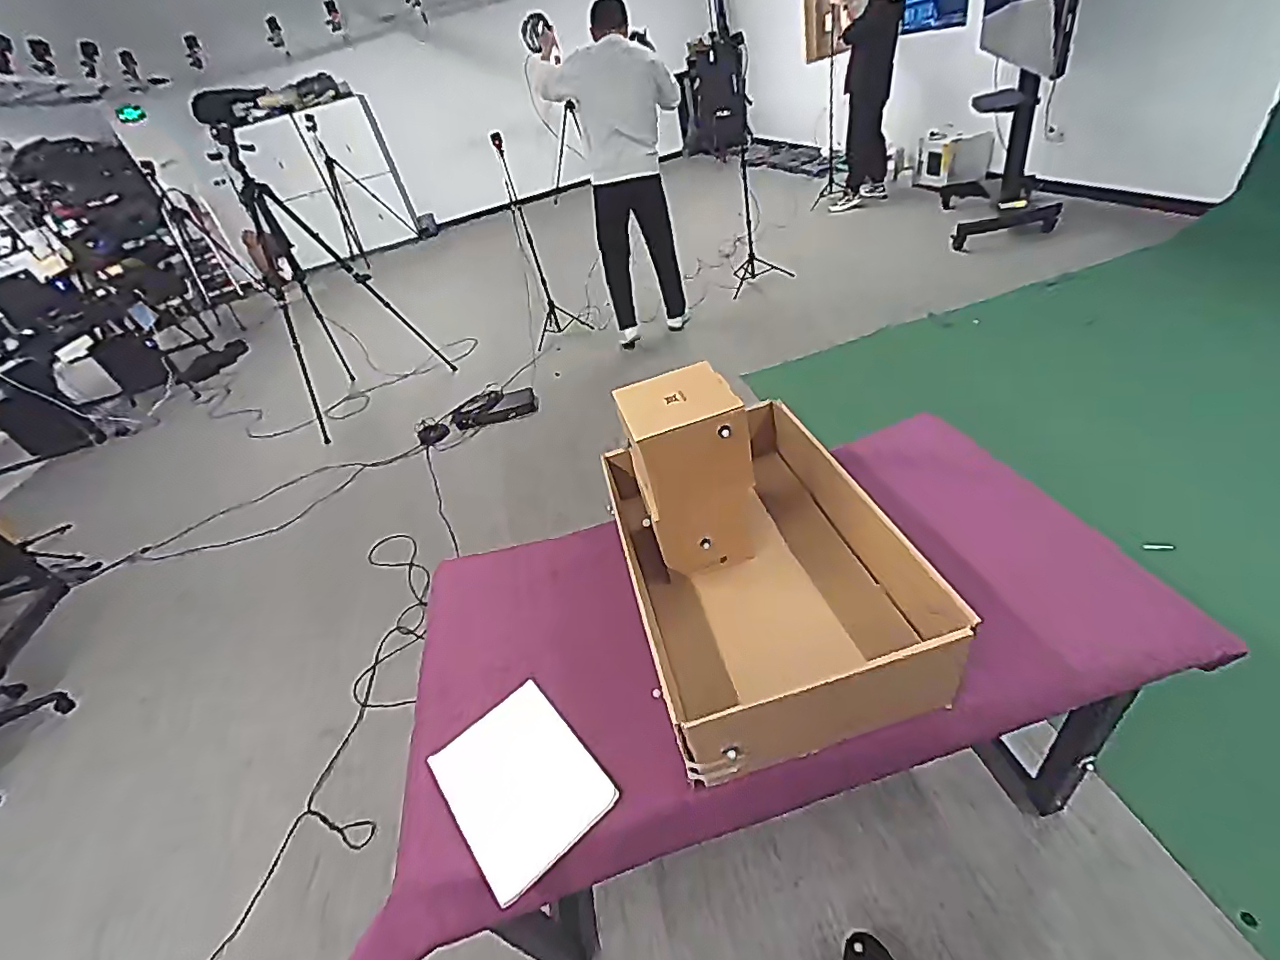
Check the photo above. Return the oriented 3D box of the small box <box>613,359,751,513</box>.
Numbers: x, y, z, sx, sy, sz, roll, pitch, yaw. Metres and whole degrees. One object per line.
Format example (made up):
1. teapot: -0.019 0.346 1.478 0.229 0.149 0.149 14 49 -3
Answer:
1. small box: 0.072 -0.071 0.903 0.179 0.176 0.168 -19 39 -4

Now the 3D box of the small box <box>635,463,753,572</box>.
1. small box: 0.101 0.050 1.006 0.168 0.176 0.179 -17 39 -2
